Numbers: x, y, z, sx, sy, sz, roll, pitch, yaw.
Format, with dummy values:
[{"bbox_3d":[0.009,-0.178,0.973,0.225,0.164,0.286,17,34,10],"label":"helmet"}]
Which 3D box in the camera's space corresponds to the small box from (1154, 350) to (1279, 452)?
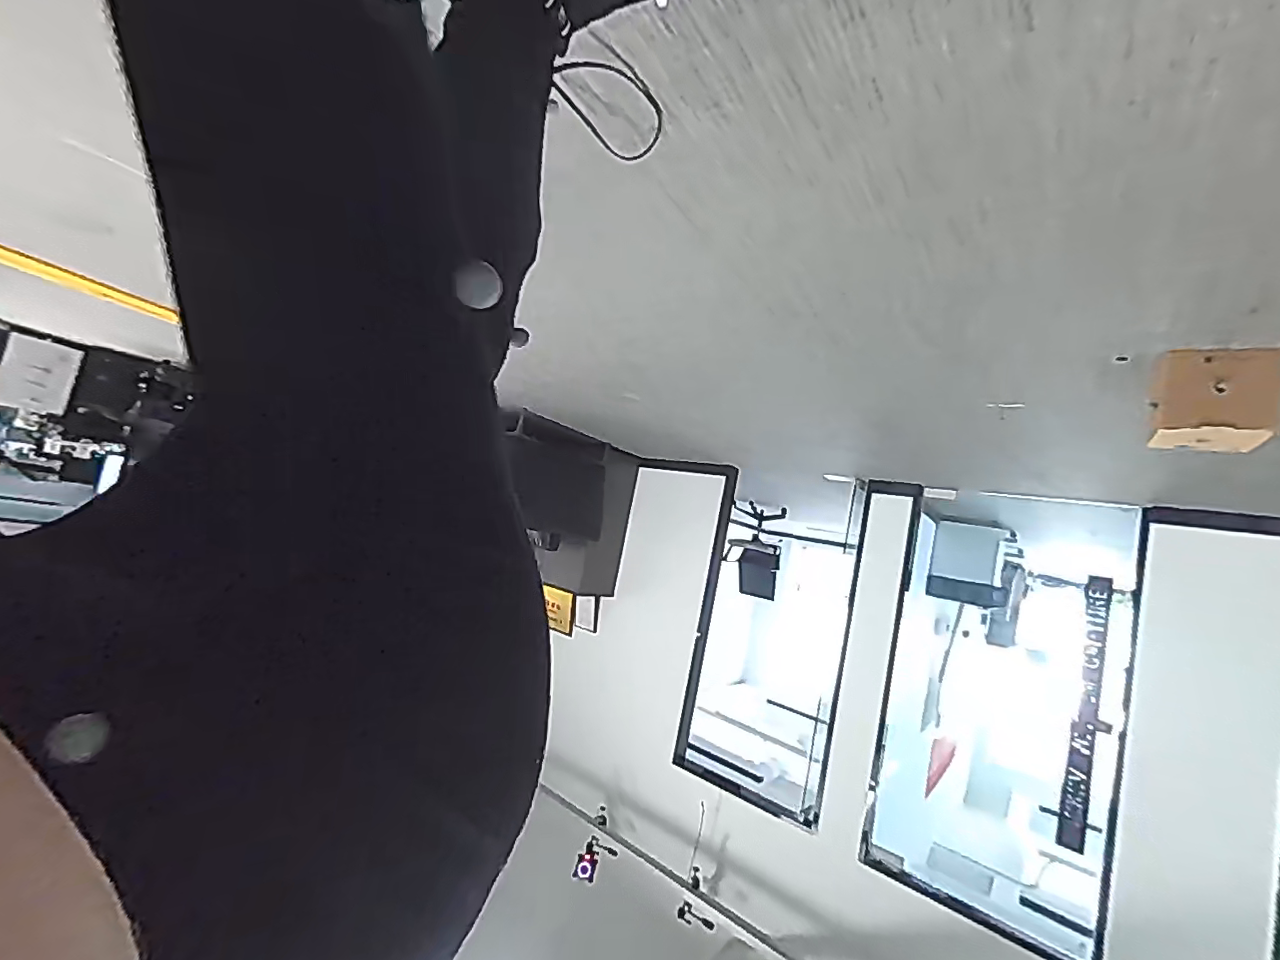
[{"bbox_3d":[1.201,-0.163,1.123,0.168,0.176,0.179,7,172,36],"label":"small box"}]
